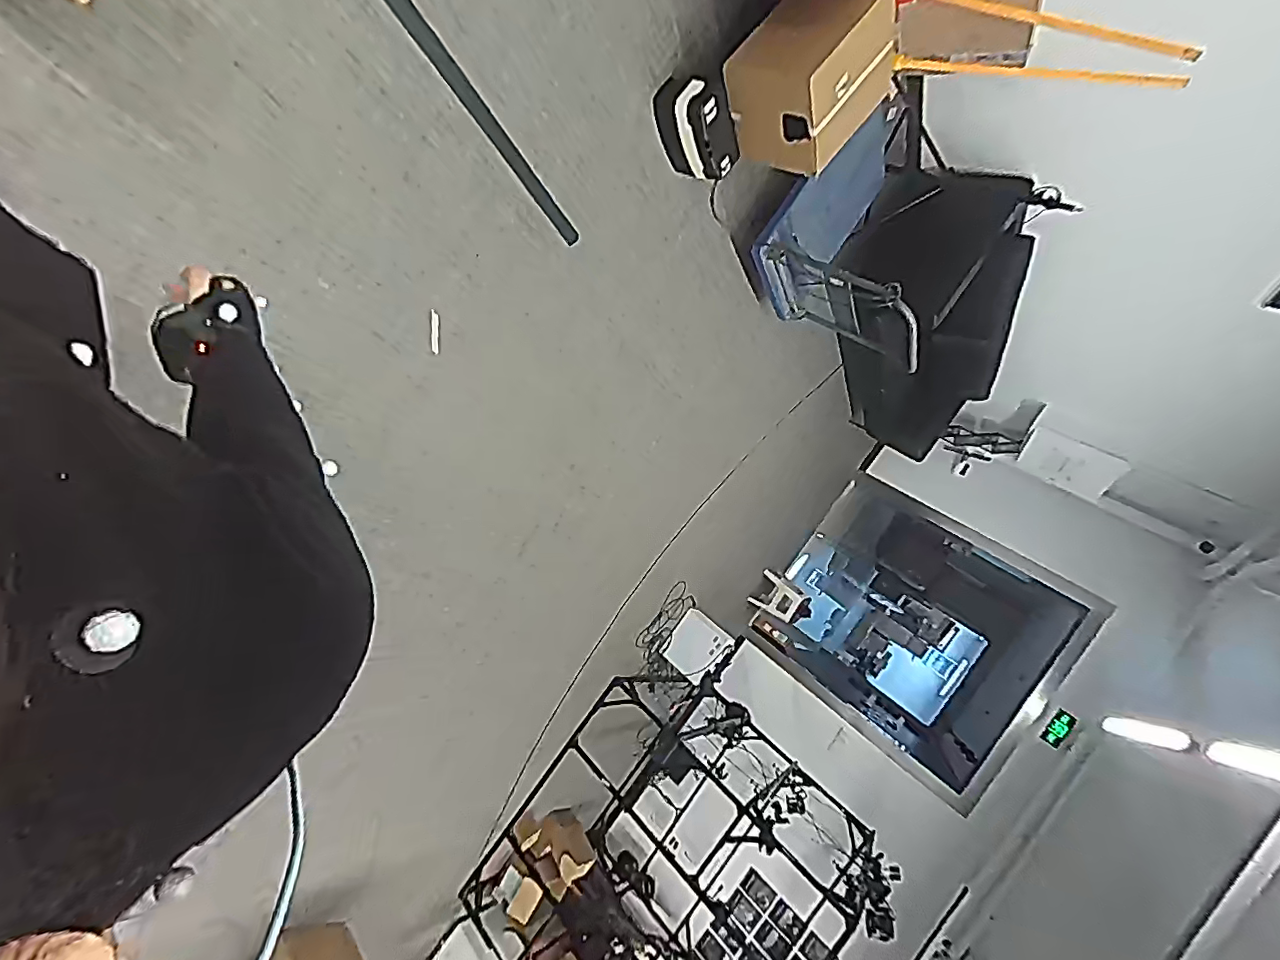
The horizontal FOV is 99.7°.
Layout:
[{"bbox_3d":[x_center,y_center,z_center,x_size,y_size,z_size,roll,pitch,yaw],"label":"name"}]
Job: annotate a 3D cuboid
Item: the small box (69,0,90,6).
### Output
[{"bbox_3d":[-0.736,-0.719,0.638,0.179,0.176,0.168,-56,149,4],"label":"small box"}]
